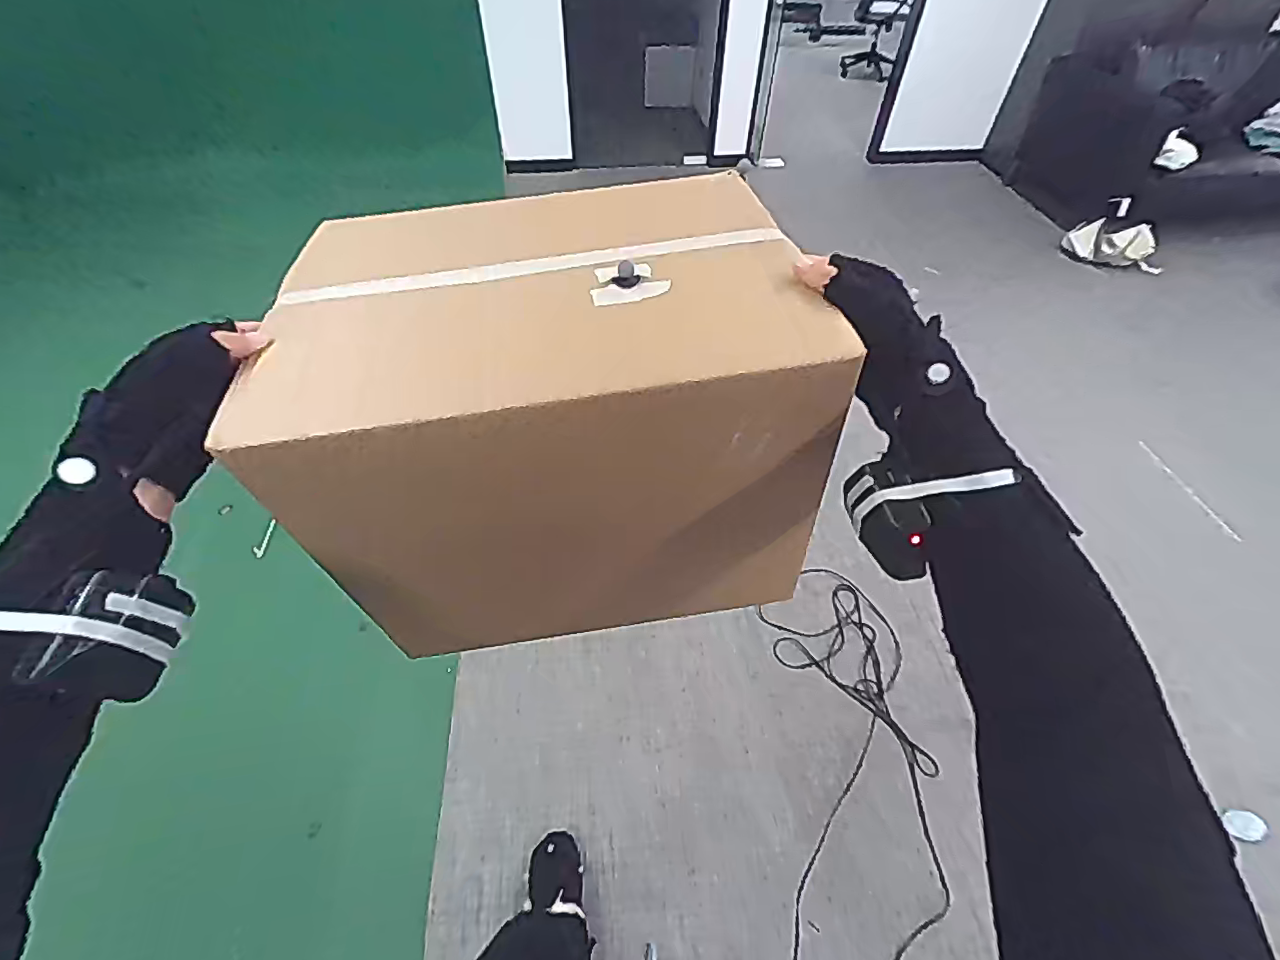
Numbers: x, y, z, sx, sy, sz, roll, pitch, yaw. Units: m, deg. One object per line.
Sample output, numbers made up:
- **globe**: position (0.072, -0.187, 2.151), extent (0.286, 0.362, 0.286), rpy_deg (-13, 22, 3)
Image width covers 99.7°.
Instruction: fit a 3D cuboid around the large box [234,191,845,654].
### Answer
- **large box**: position (-0.073, -0.058, 0.553), extent (0.408, 0.320, 0.320), rpy_deg (-8, 49, -3)
